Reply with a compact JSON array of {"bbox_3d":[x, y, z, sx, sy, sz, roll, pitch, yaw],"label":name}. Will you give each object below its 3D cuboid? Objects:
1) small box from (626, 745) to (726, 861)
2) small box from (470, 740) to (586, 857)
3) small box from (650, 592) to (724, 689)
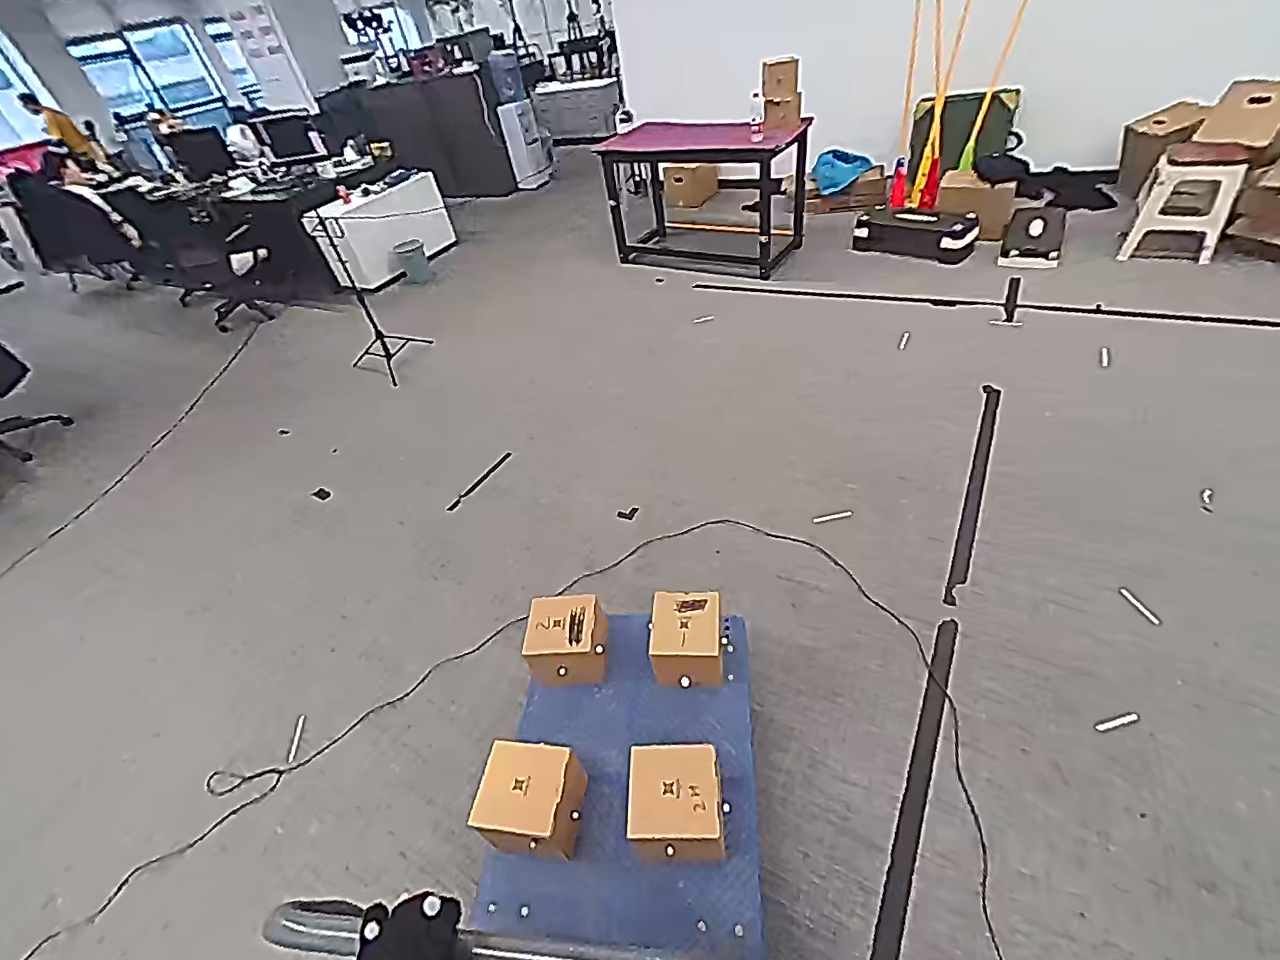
[{"bbox_3d":[0.077,0.658,1.100,0.179,0.176,0.168,-5,43,8],"label":"small box"},{"bbox_3d":[-0.228,0.677,1.150,0.179,0.176,0.168,1,43,11],"label":"small box"},{"bbox_3d":[0.125,0.403,1.365,0.168,0.176,0.179,-2,44,11],"label":"small box"}]
